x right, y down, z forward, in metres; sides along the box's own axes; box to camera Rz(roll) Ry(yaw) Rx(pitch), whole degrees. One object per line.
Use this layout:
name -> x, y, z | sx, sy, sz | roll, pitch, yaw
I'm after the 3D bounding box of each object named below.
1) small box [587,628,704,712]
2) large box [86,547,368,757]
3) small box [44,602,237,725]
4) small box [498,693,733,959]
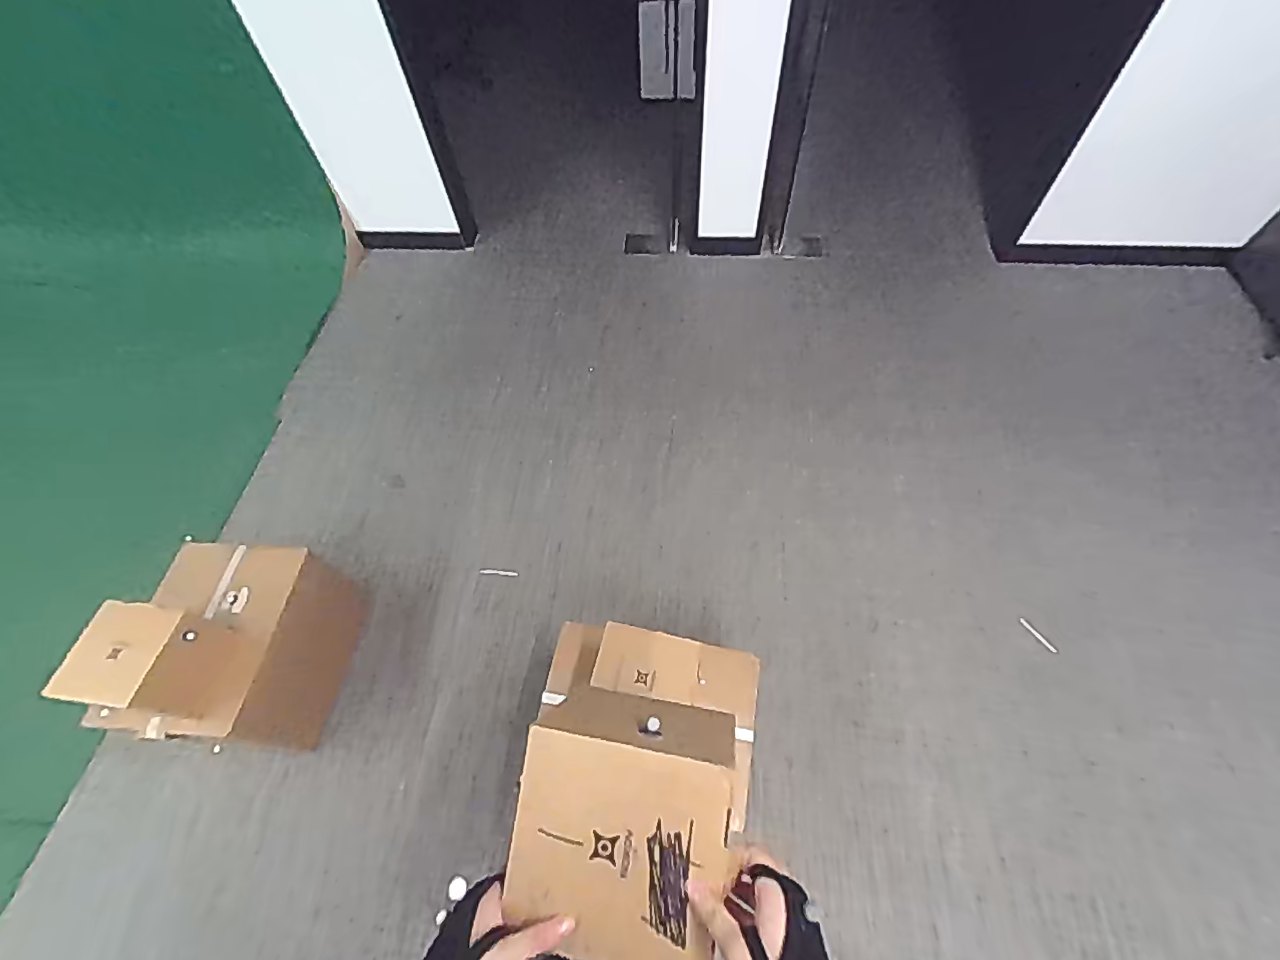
small box -> 0.008, 0.387, 0.960 | 0.179, 0.176, 0.168 | 11, 56, 10
large box -> -0.921, 0.411, 1.279 | 0.320, 0.320, 0.408 | 3, 57, 5
small box -> -0.925, 0.353, 1.025 | 0.168, 0.176, 0.179 | 6, 57, 6
small box -> -0.008, 0.316, 0.516 | 0.179, 0.176, 0.168 | 7, 81, 12
